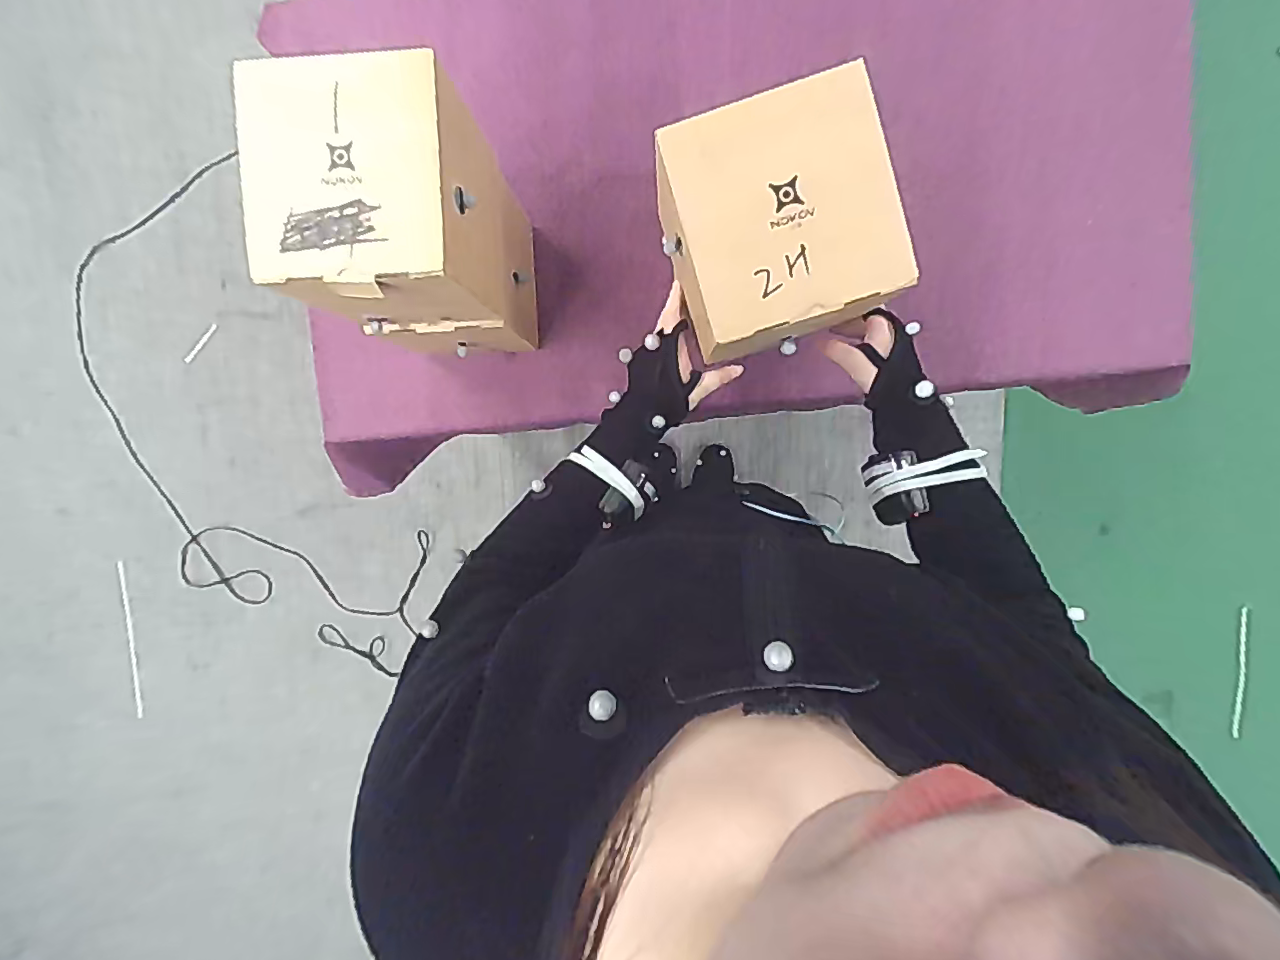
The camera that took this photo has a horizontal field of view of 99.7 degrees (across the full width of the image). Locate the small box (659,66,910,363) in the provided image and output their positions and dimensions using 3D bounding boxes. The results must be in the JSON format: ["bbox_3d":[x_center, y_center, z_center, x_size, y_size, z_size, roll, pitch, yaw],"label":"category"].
[{"bbox_3d":[0.116,-0.221,0.502,0.168,0.176,0.179,-15,95,4],"label":"small box"}]

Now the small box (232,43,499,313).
[{"bbox_3d":[-0.238,-0.260,0.510,0.168,0.176,0.179,-1,94,2],"label":"small box"}]

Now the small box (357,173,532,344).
[{"bbox_3d":[-0.235,-0.267,0.675,0.168,0.176,0.179,-2,95,1],"label":"small box"}]
